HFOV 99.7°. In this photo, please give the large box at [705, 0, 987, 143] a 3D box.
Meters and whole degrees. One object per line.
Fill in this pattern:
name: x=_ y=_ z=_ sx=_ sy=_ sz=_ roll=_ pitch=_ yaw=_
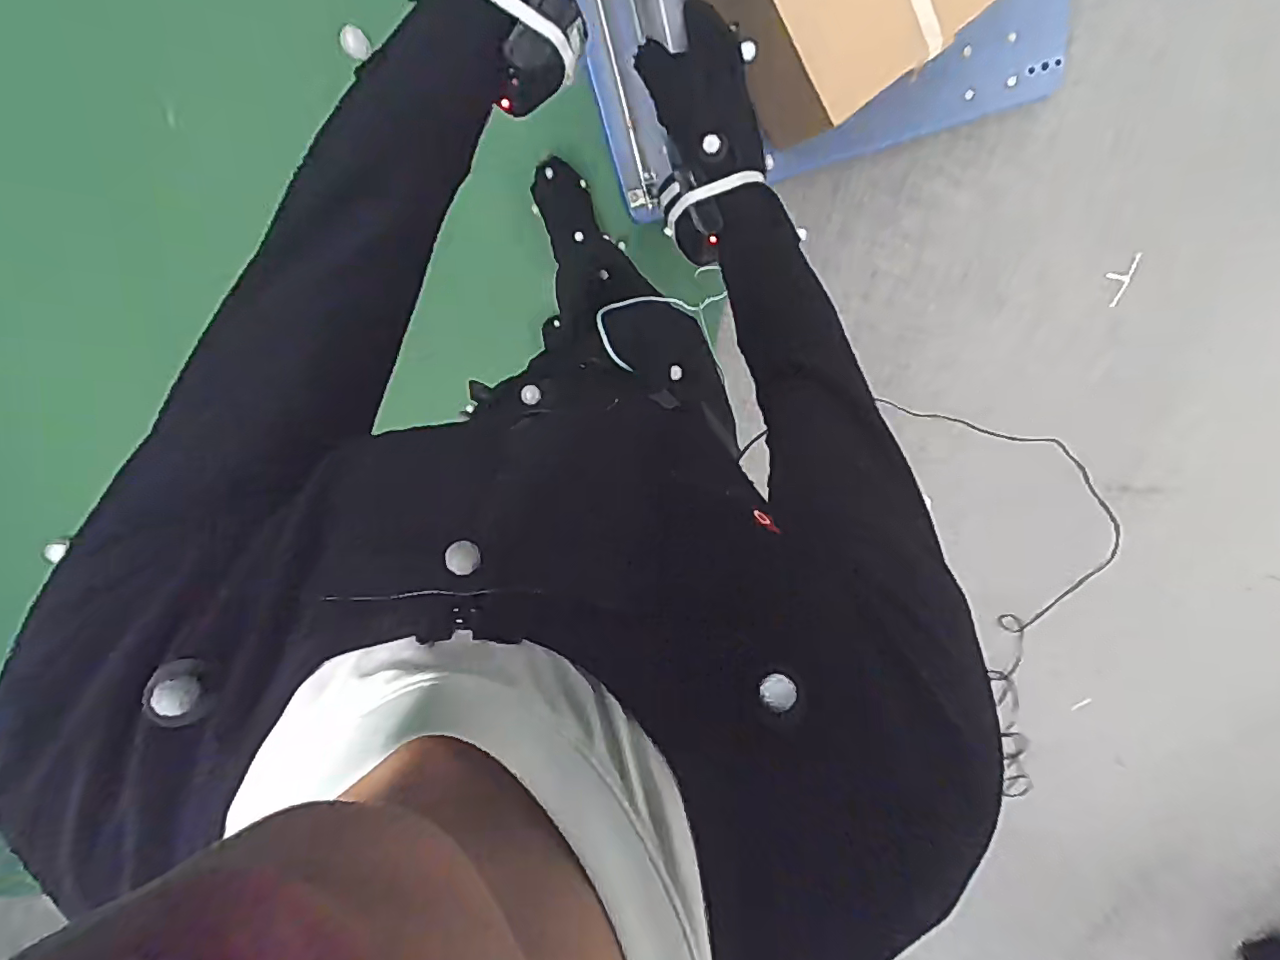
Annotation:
large box: x=0.283 y=-0.806 z=0.807 sx=0.320 sy=0.320 sz=0.408 roll=-34 pitch=112 yaw=13
